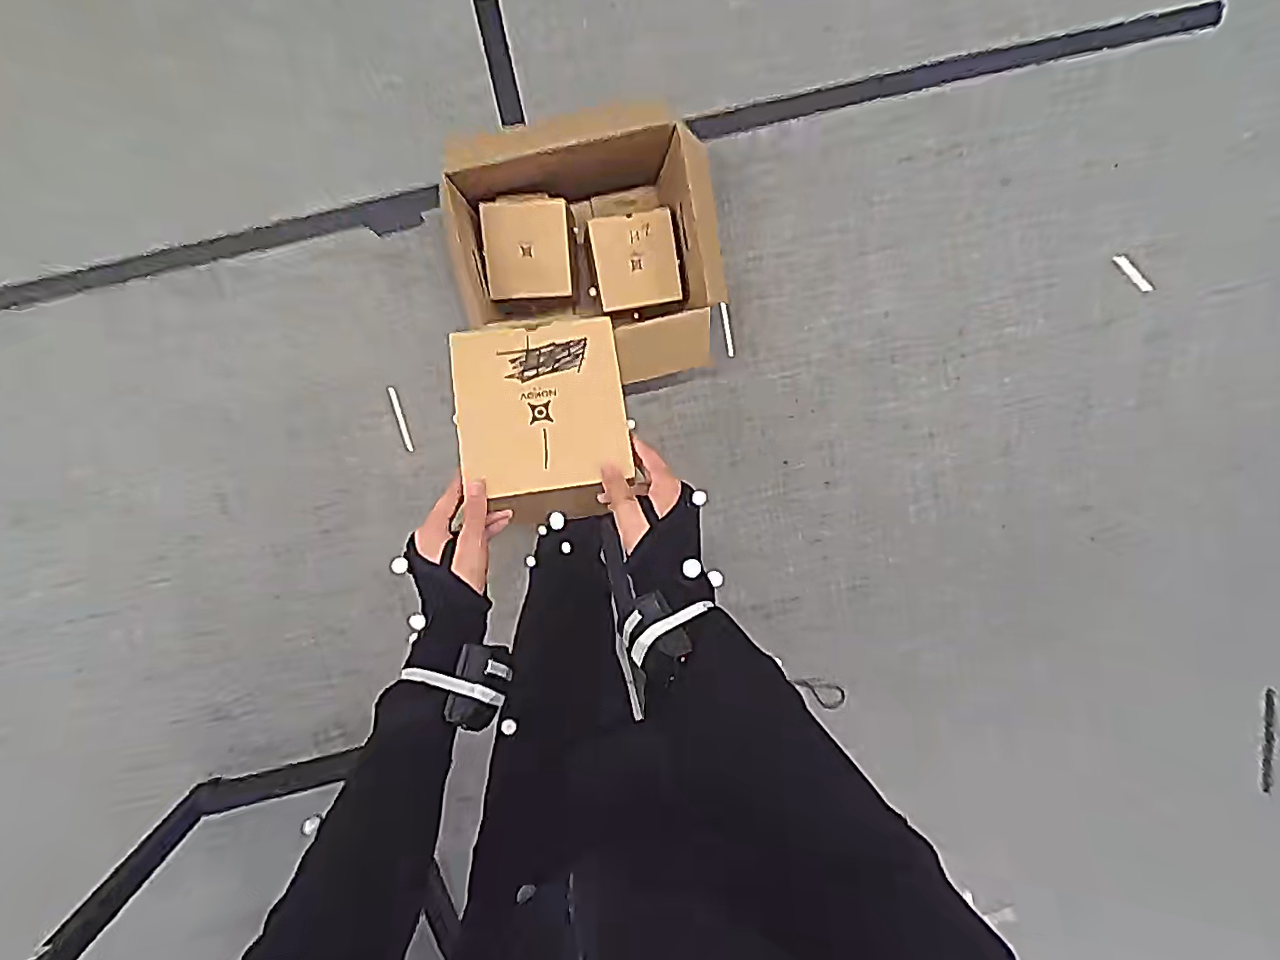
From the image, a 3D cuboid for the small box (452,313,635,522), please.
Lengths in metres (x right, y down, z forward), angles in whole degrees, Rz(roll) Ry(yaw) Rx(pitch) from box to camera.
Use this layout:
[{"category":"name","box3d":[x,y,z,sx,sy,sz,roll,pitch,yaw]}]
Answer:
[{"category":"small box","box3d":[-0.102,-0.060,0.605,0.168,0.176,0.179,-8,77,-5]}]
